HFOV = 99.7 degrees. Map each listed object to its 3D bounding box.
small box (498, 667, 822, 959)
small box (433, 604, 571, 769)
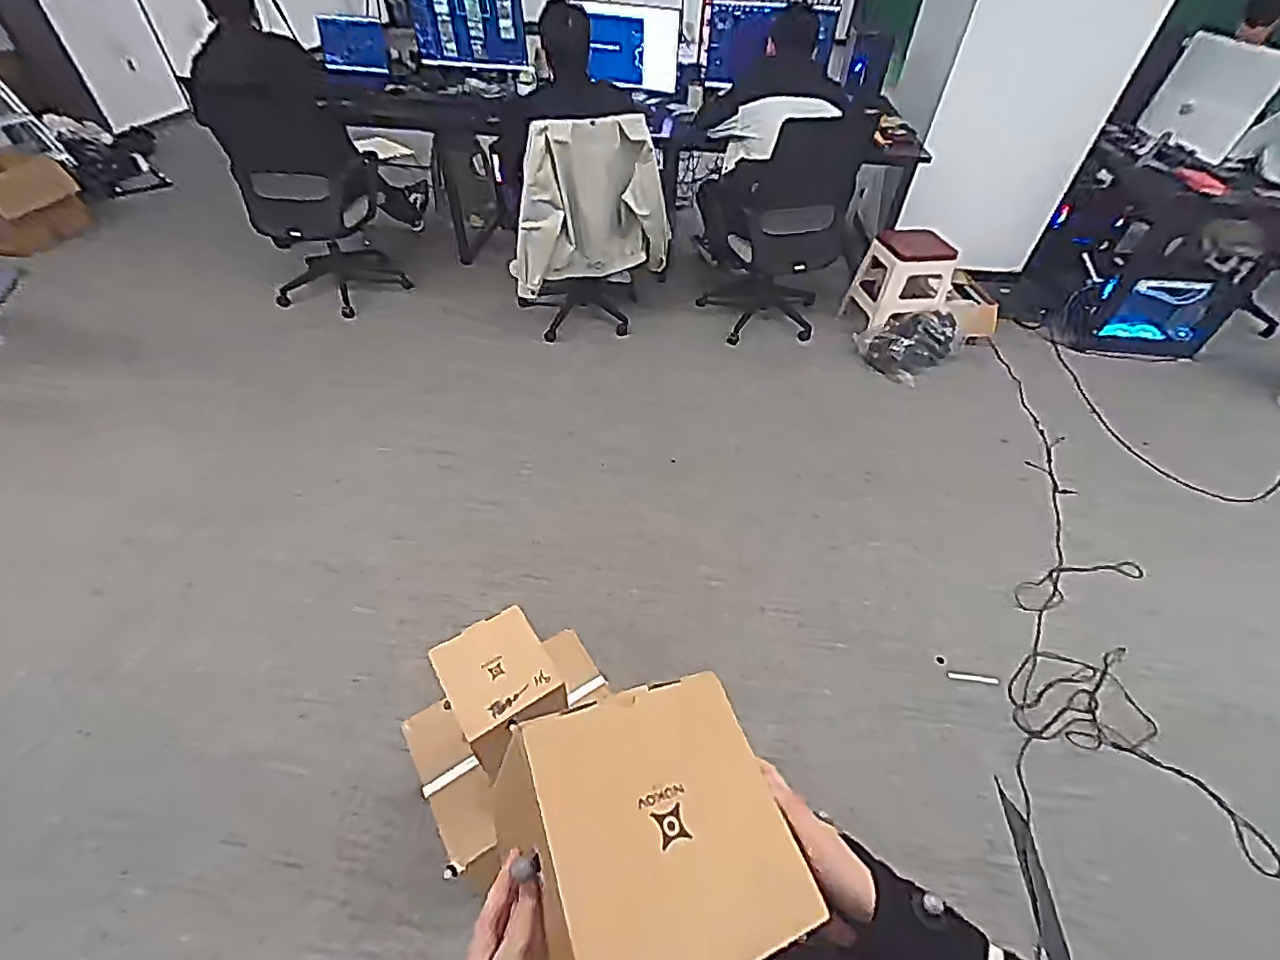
[{"bbox_3d":[-0.005,0.278,0.415,0.168,0.176,0.179,-5,47,-27],"label":"small box"},{"bbox_3d":[-0.232,0.356,0.934,0.168,0.176,0.179,-26,52,-24],"label":"small box"}]
